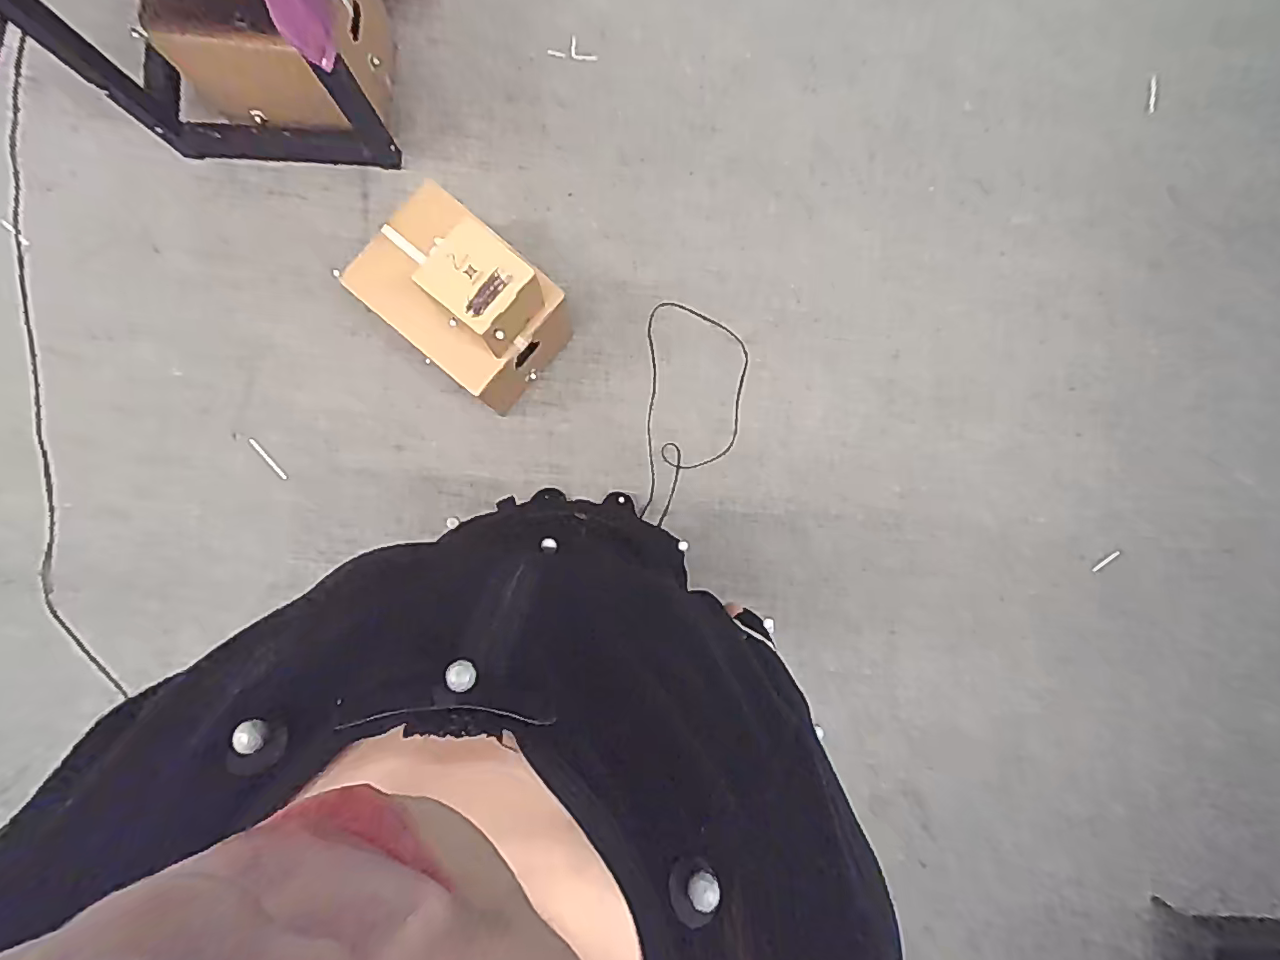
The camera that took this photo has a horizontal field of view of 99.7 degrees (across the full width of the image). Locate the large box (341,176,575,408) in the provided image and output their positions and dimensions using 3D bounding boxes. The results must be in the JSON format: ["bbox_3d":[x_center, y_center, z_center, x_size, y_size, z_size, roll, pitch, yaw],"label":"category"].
[{"bbox_3d":[-0.419,-0.435,1.349,0.408,0.320,0.320,40,87,-2],"label":"large box"}]
